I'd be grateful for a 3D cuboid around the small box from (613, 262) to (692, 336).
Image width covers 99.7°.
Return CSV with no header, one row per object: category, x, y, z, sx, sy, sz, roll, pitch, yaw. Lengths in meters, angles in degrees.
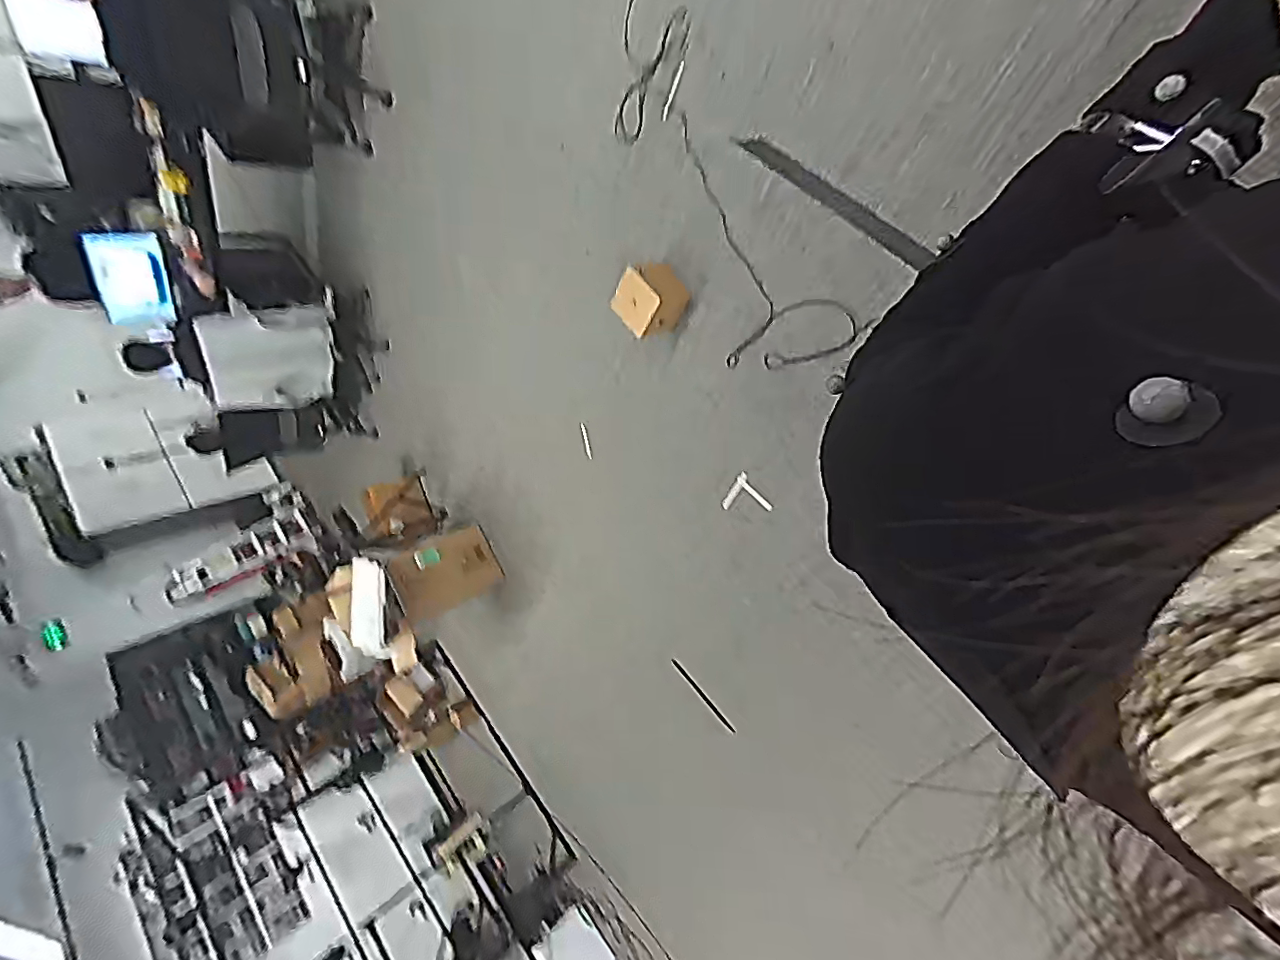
small box,0.045,-0.618,1.828,0.179,0.176,0.168,52,137,16
